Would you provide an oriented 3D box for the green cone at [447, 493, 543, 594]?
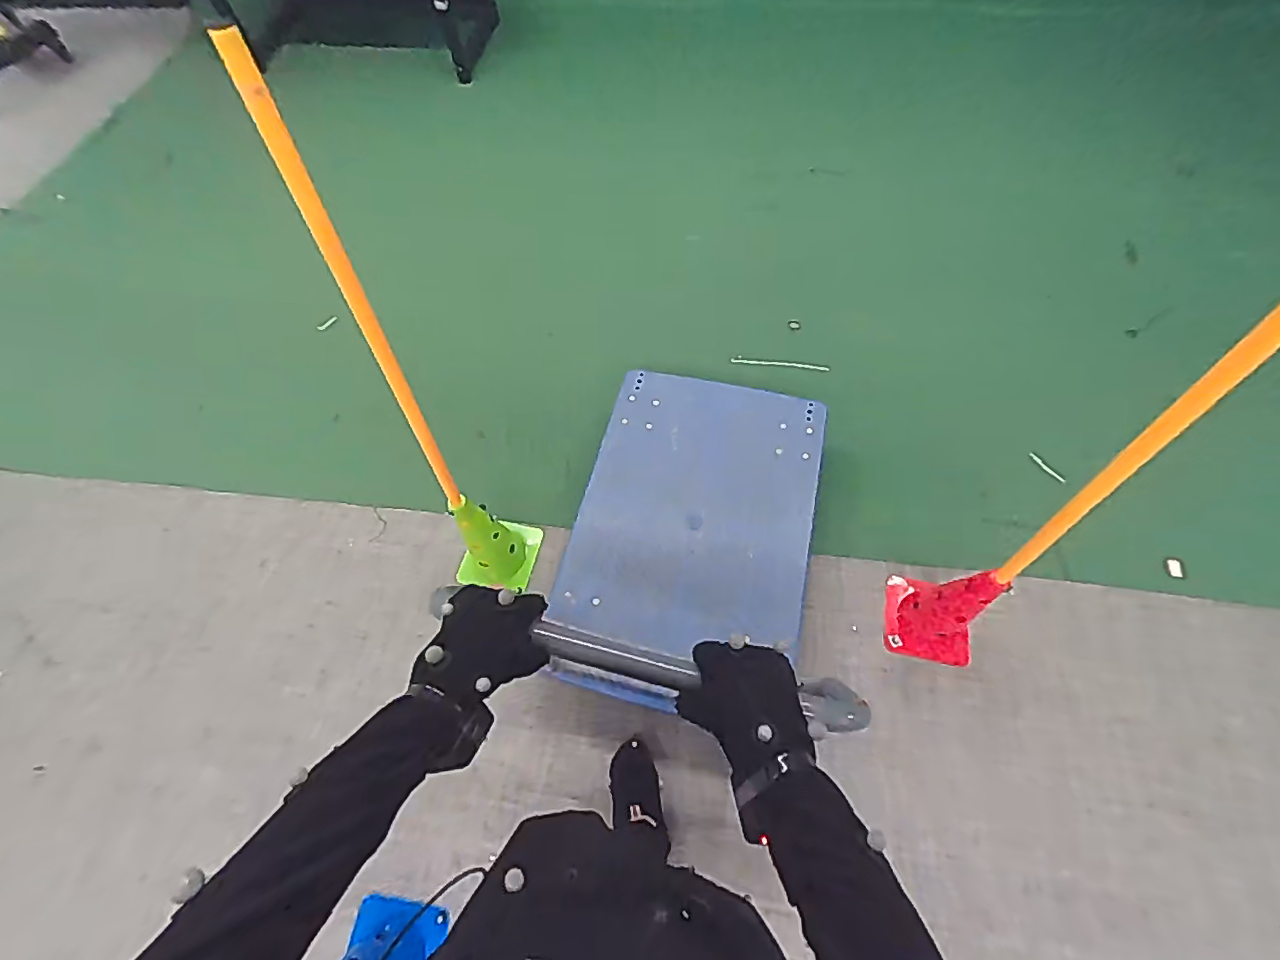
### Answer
[{"bbox_3d":[-0.399,0.128,1.370,0.202,0.368,0.200,10,63,9],"label":"green cone"}]
